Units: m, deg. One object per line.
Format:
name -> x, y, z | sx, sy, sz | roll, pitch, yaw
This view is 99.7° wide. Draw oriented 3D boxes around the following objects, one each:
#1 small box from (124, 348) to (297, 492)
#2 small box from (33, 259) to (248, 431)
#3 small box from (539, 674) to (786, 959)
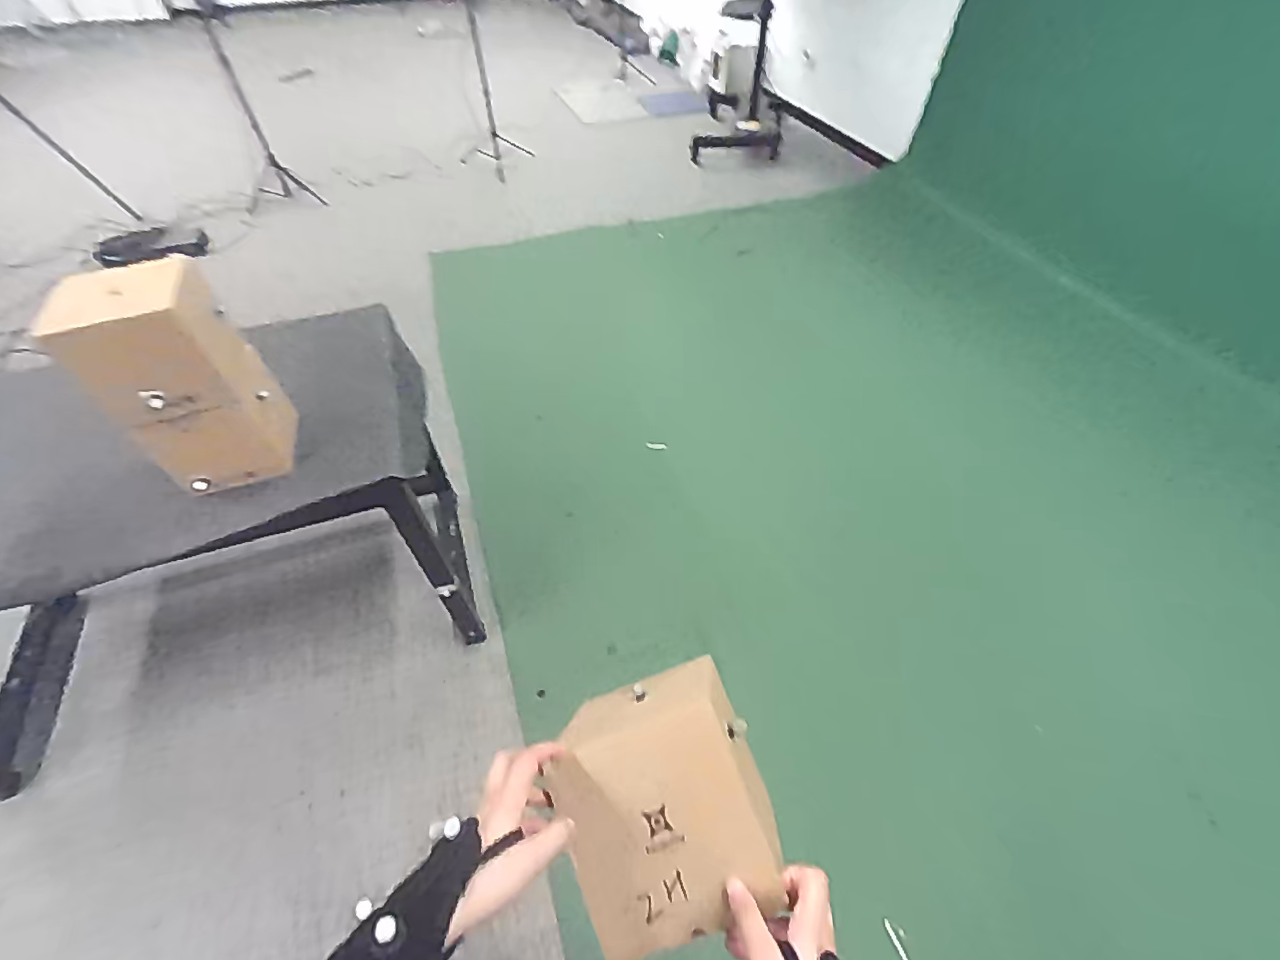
small box -> -0.728, -0.098, 0.942 | 0.168, 0.176, 0.179 | -16, 48, -12
small box -> -0.729, -0.204, 0.819 | 0.168, 0.176, 0.179 | -19, 51, -14
small box -> 0.024, 0.311, 0.539 | 0.168, 0.176, 0.179 | -24, 82, 6
